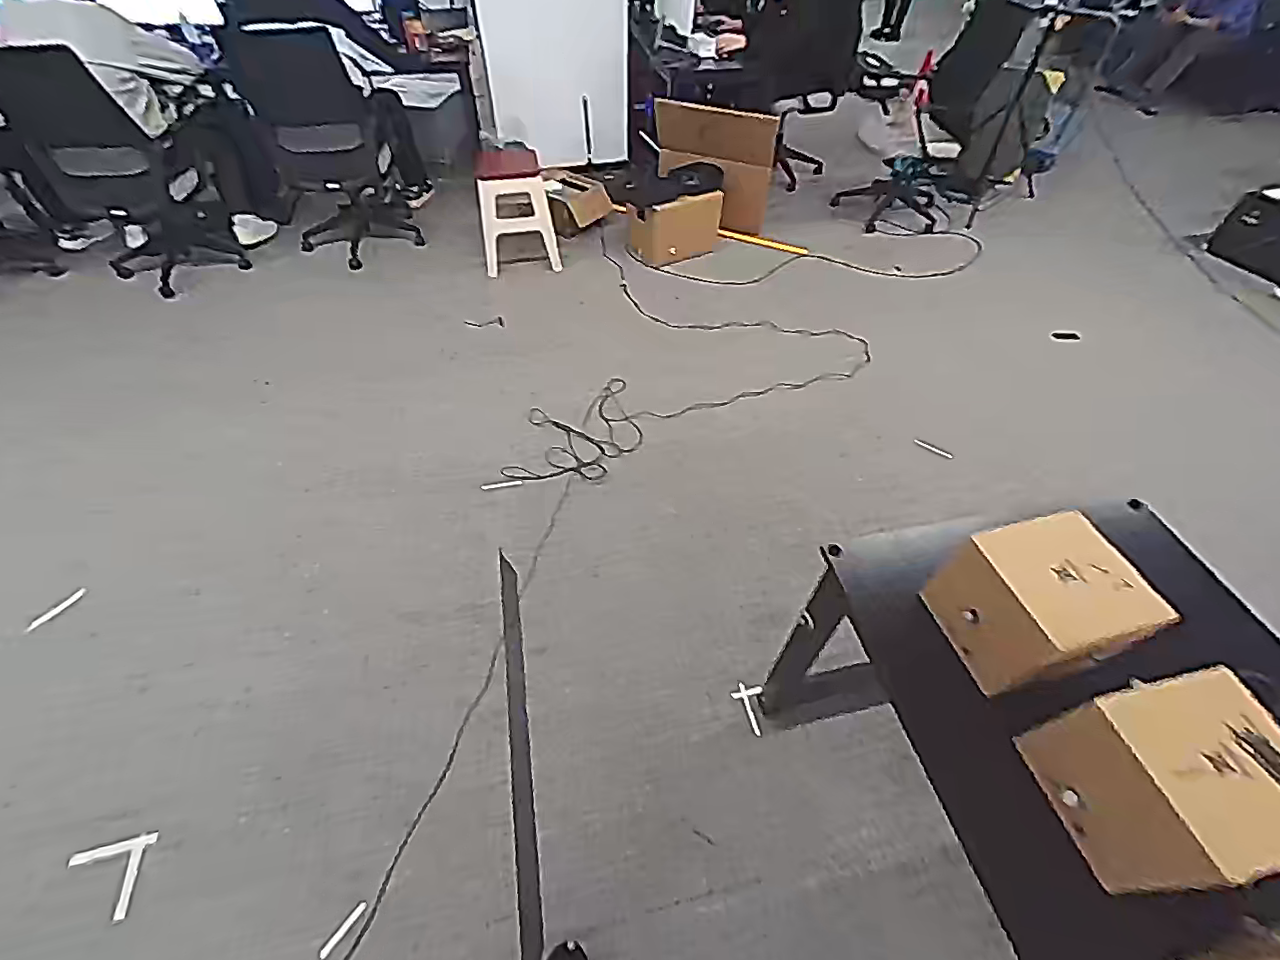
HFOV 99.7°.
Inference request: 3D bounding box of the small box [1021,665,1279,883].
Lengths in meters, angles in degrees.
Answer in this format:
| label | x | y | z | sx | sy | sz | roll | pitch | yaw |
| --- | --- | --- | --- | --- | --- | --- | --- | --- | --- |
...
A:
| label | x | y | z | sx | sy | sz | roll | pitch | yaw |
| --- | --- | --- | --- | --- | --- | --- | --- | --- | --- |
| small box | 0.592 | 0.333 | 0.610 | 0.179 | 0.176 | 0.168 | -10 | 51 | -8 |
